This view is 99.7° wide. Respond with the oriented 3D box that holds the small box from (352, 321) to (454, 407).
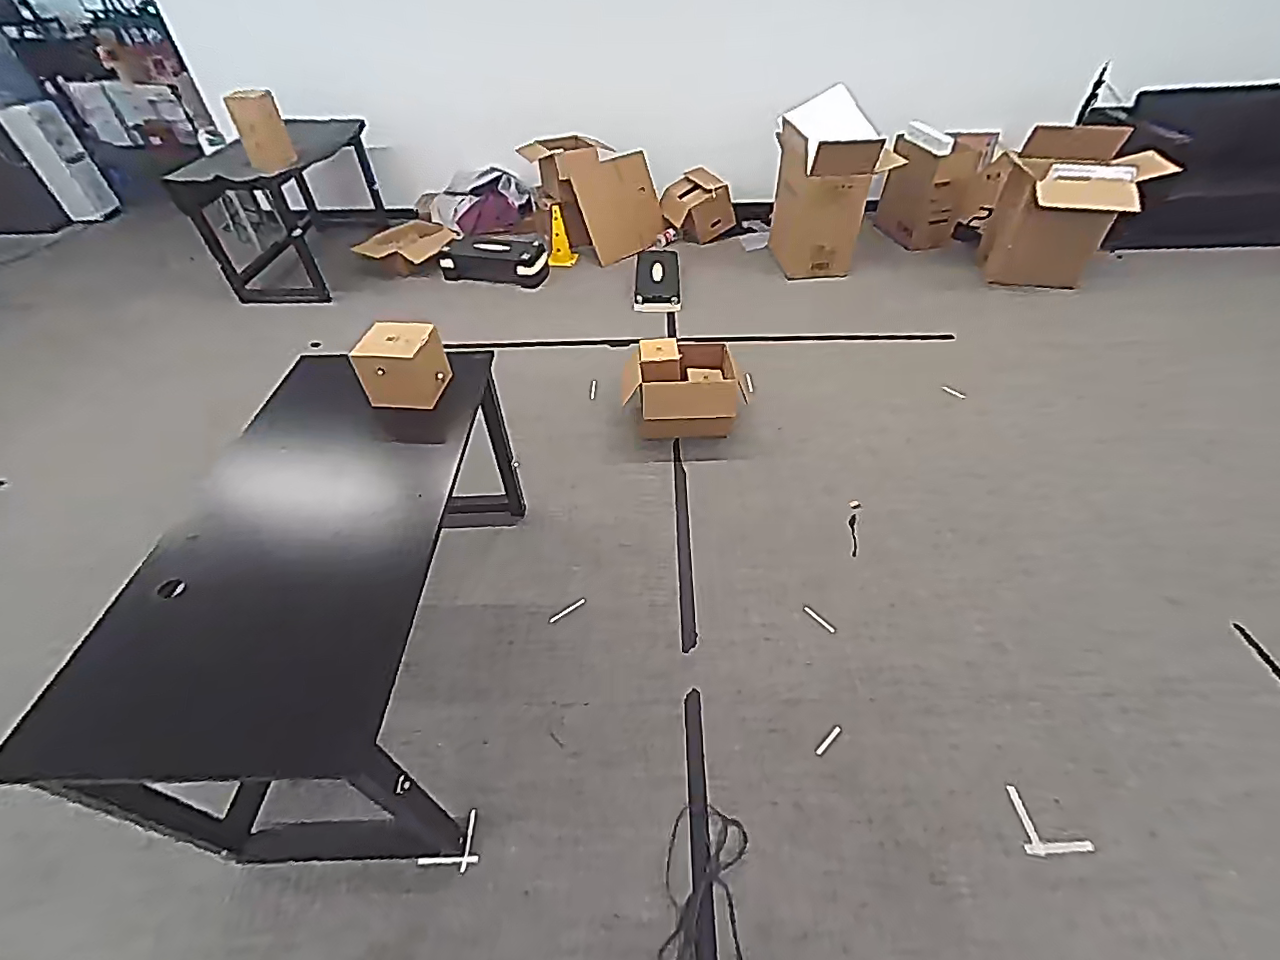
[{"bbox_3d":[-0.639,-0.316,1.482,0.179,0.176,0.168,4,47,6],"label":"small box"}]
